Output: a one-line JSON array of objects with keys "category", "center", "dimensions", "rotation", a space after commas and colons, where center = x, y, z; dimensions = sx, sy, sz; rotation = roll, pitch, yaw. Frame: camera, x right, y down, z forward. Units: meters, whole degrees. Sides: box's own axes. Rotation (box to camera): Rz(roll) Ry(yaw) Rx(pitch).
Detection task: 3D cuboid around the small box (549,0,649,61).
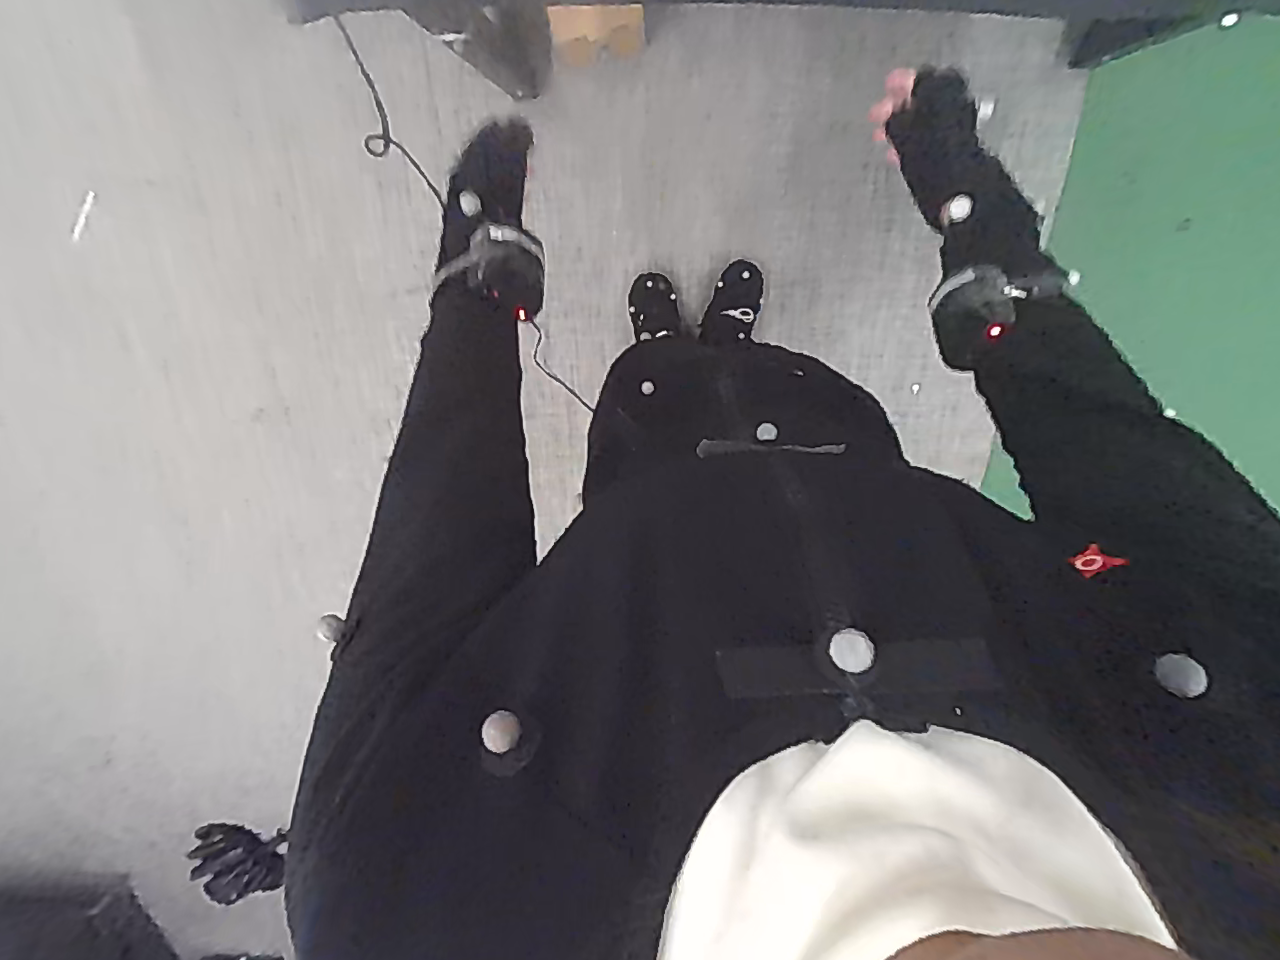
[{"category": "small box", "center": [-0.079, -0.906, 0.999], "dimensions": [0.168, 0.176, 0.179], "rotation": [-9, 115, 7]}]
